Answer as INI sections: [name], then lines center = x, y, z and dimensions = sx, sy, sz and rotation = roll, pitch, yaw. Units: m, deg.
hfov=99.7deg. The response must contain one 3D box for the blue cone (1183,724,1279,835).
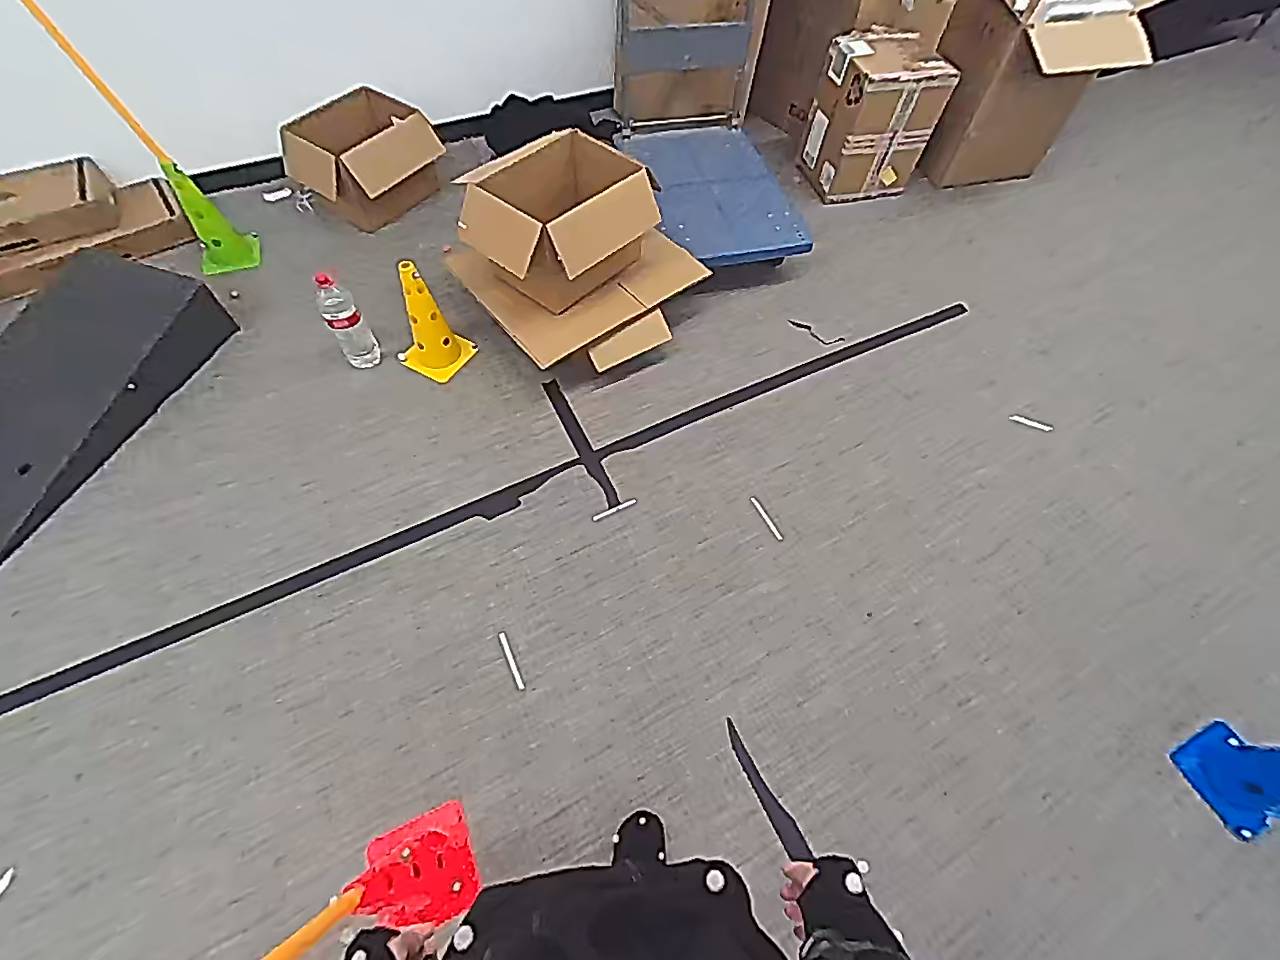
[blue cone]
center = 1.400, 0.607, 1.123
dimensions = 0.193, 0.380, 0.192
rotation = -20, 62, -13

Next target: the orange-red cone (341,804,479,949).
[orange-red cone]
center = -0.436, 0.710, 0.954
dimensions = 0.198, 0.360, 0.199
rotation = -20, 61, -14
